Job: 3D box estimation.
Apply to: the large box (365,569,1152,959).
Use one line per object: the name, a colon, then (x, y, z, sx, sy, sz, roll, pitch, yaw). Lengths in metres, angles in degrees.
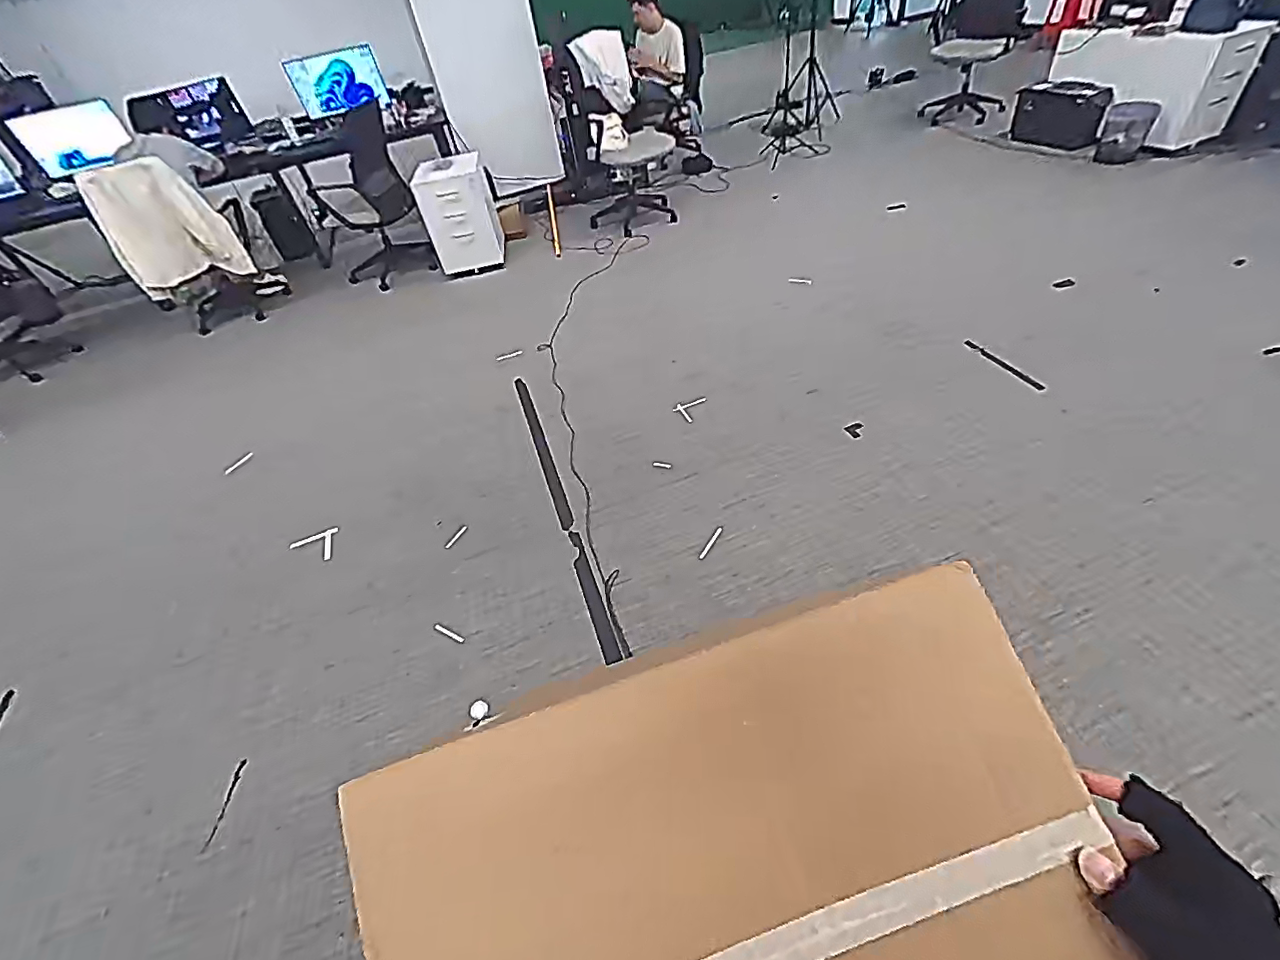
large box: (0.072, 0.303, 0.442, 0.408, 0.320, 0.320, -19, 75, -3)
